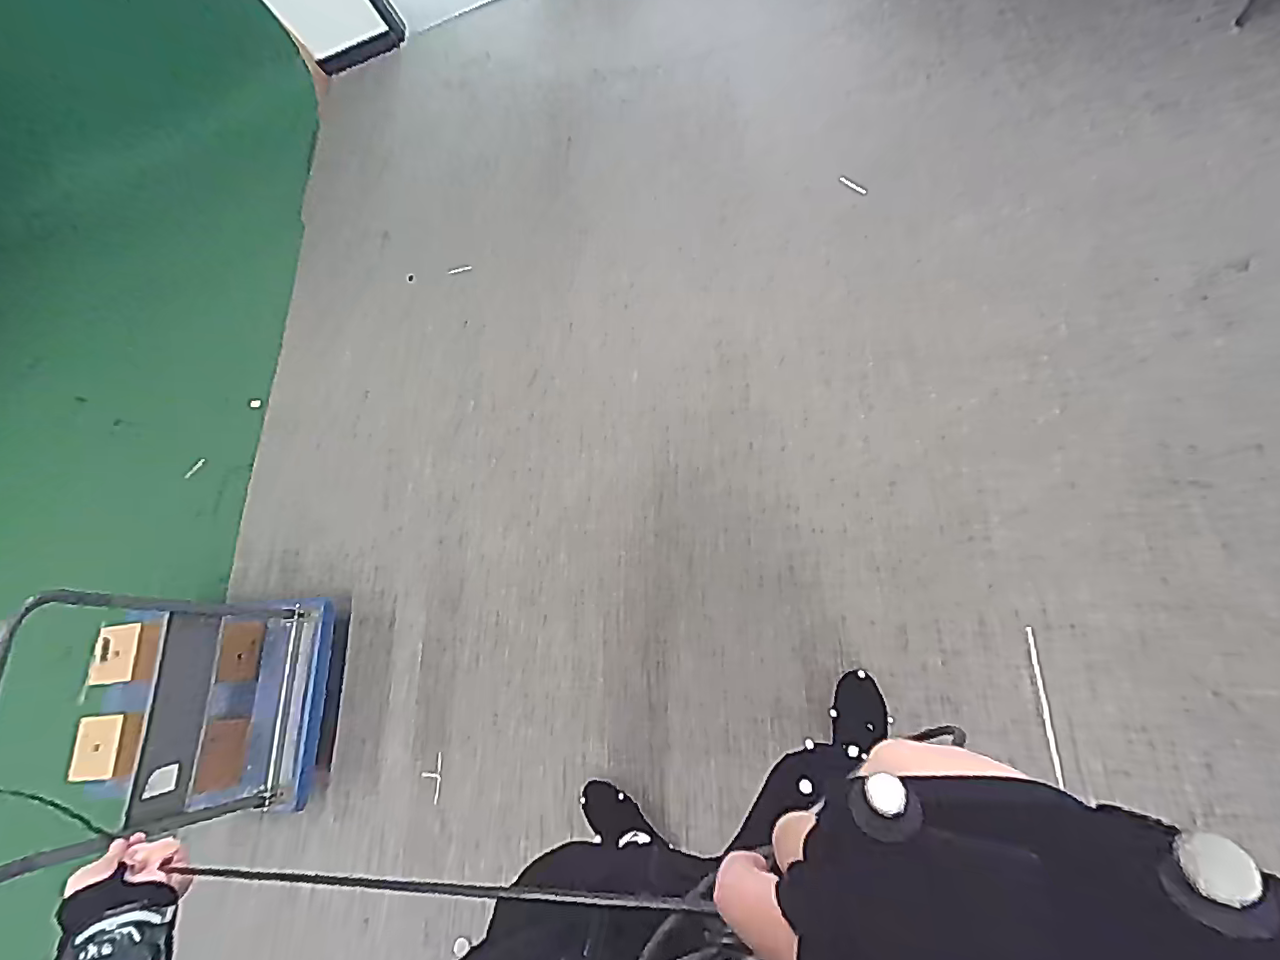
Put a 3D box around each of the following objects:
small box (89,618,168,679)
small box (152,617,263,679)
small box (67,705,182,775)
[{"bbox_3d":[-1.521,0.520,1.665,0.179,0.176,0.168,-9,72,14],"label":"small box"},{"bbox_3d":[-1.263,0.494,1.589,0.179,0.176,0.168,-5,72,16],"label":"small box"},{"bbox_3d":[-1.500,0.758,1.585,0.179,0.176,0.168,-10,70,15],"label":"small box"}]
